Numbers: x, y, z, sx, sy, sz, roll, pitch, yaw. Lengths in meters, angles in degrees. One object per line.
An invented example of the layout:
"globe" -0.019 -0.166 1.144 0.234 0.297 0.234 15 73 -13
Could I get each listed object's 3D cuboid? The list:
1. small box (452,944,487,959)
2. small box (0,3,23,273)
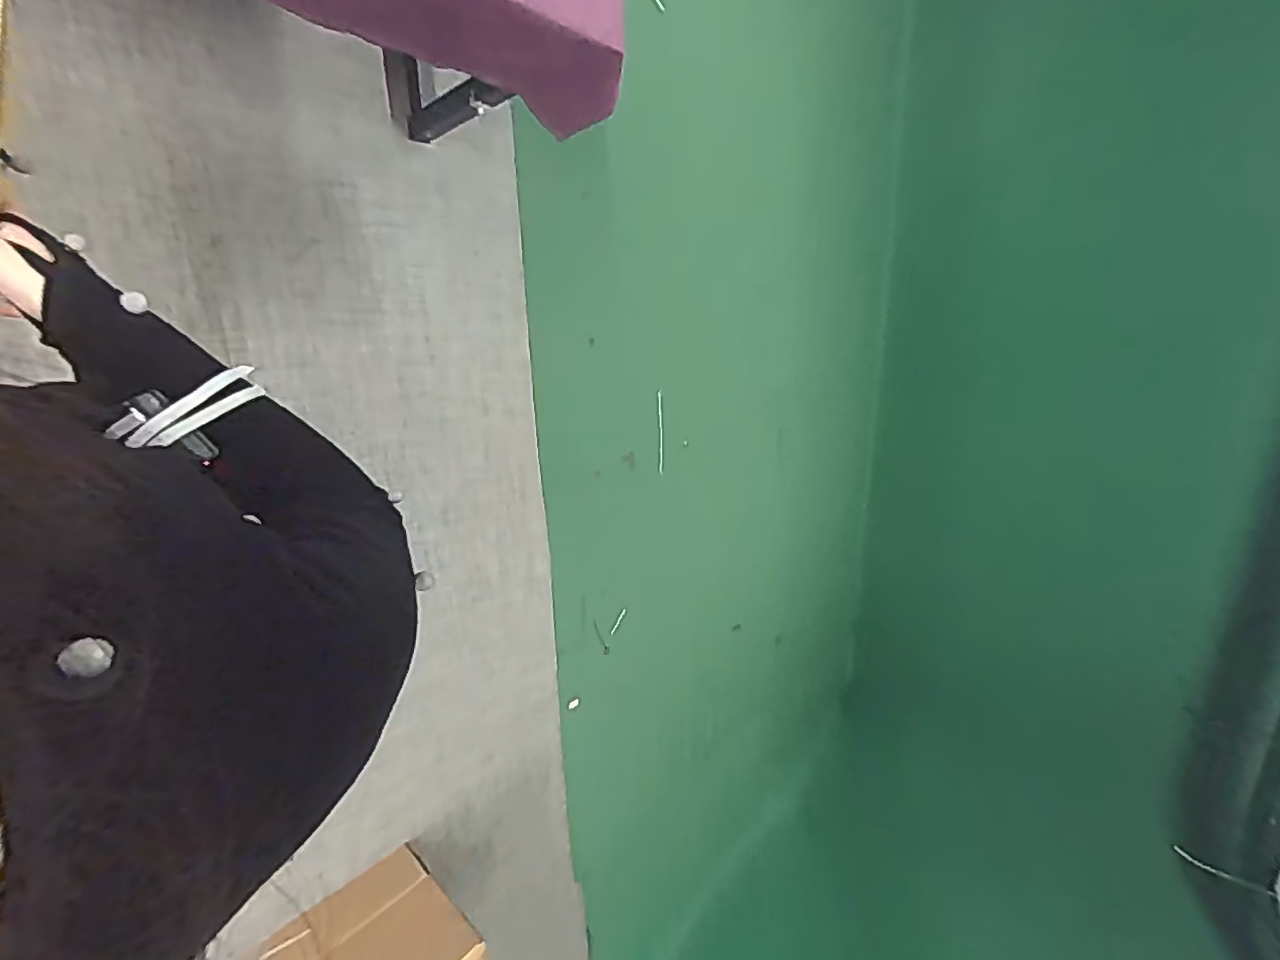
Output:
"small box" -0.449 1.377 1.400 0.168 0.176 0.179 -17 111 -44
"small box" -0.534 -0.246 0.350 0.168 0.176 0.179 5 97 -46
